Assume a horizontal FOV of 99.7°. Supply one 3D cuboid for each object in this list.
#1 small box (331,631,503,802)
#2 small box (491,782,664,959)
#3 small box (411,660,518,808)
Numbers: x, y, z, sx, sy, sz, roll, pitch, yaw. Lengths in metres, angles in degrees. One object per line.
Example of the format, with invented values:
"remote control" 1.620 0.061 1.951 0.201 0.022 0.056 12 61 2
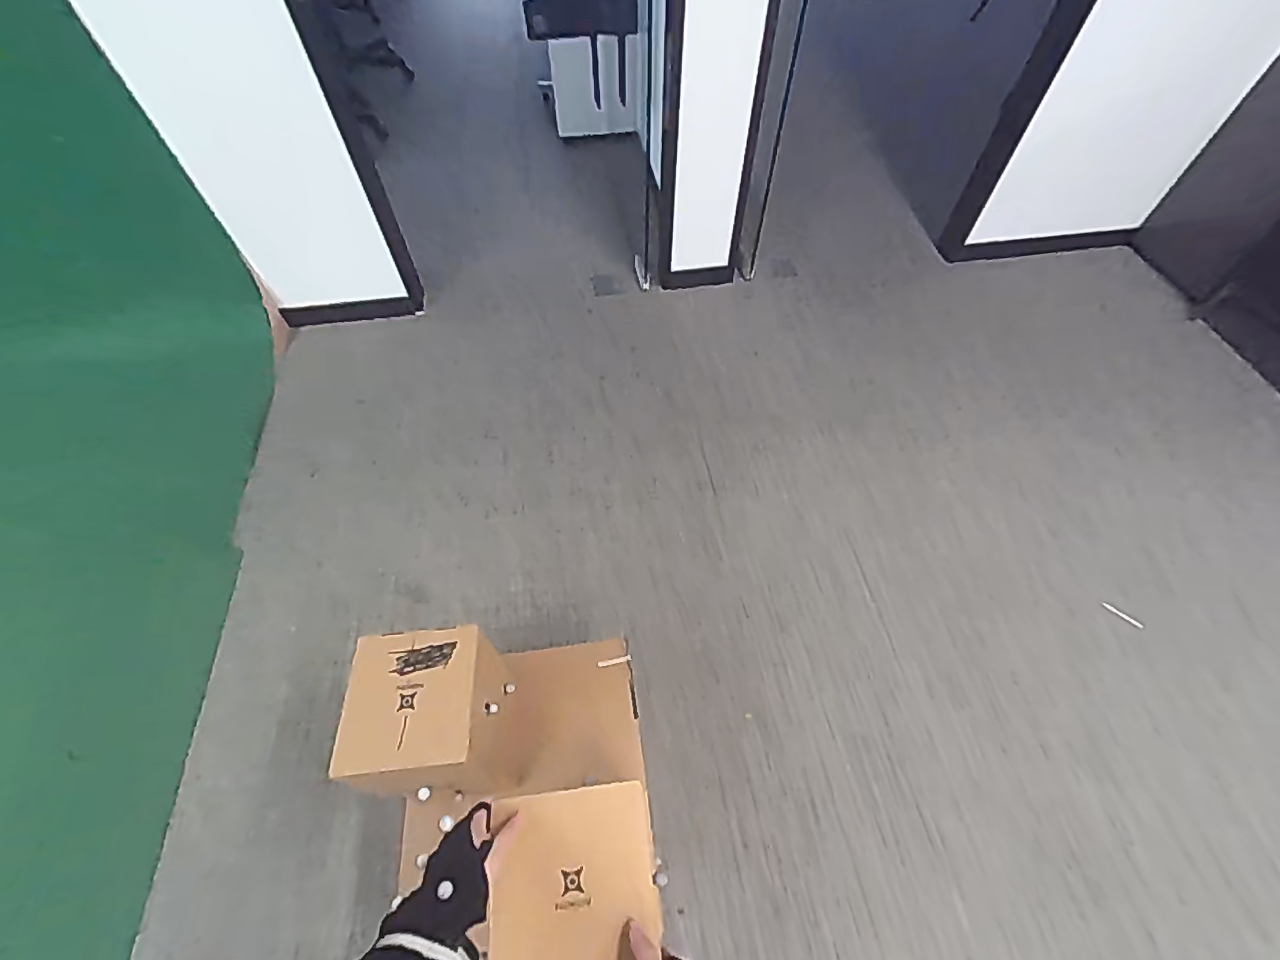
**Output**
"small box" -0.294 0.333 0.757 0.168 0.176 0.179 -5 53 -3
"small box" -0.071 0.455 0.610 0.168 0.176 0.179 -5 59 -7
"small box" -0.301 0.422 0.897 0.168 0.176 0.179 -7 52 -4
